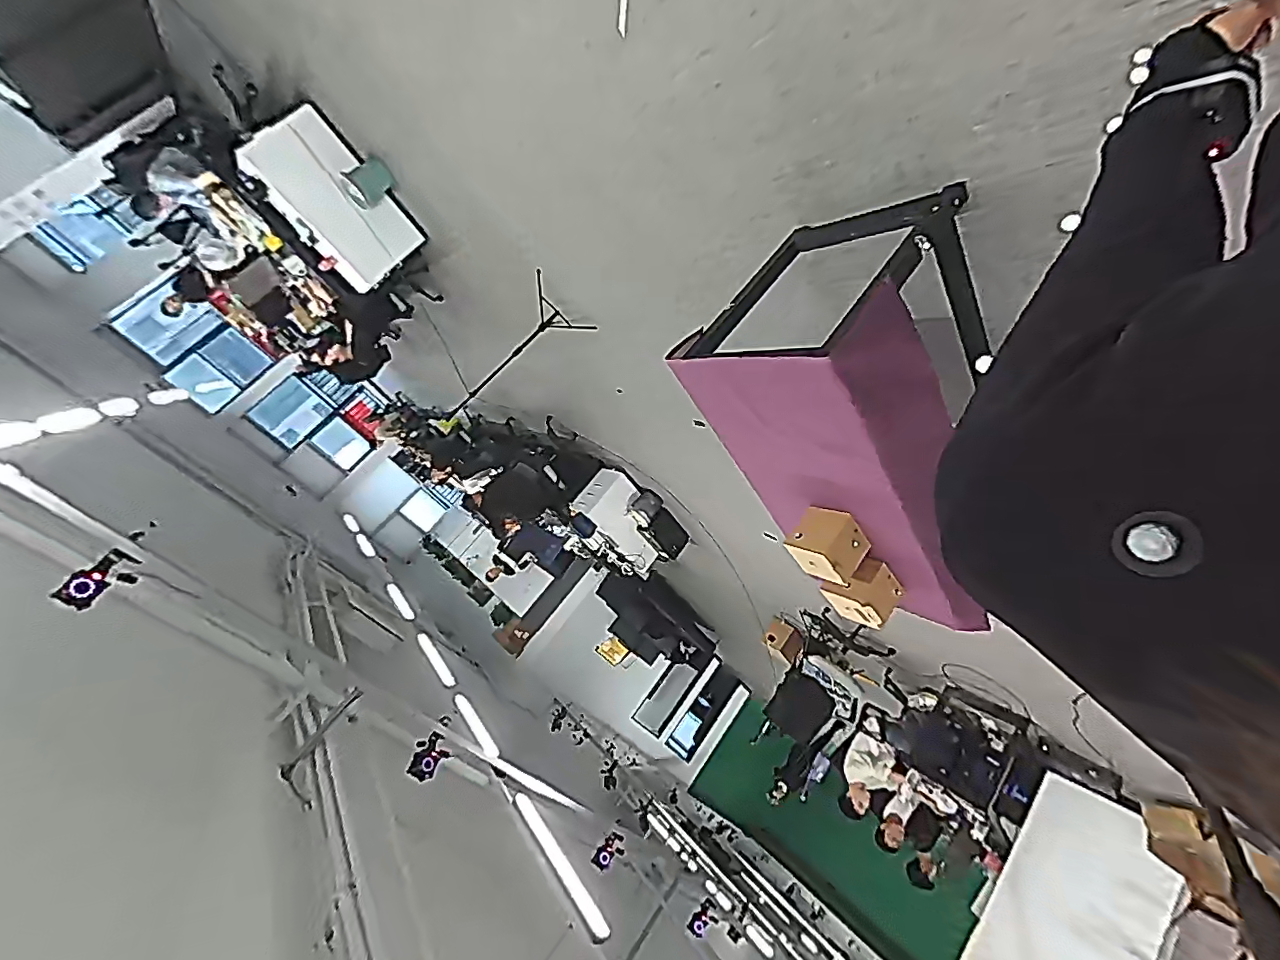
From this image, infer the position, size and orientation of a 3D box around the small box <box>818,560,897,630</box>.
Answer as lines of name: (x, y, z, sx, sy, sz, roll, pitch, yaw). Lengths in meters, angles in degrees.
small box: (0.765, 0.388, 1.884, 0.168, 0.176, 0.179, 48, 162, -23)

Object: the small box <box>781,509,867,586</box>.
small box: (0.607, 0.215, 1.780, 0.168, 0.176, 0.179, 48, 161, -27)
